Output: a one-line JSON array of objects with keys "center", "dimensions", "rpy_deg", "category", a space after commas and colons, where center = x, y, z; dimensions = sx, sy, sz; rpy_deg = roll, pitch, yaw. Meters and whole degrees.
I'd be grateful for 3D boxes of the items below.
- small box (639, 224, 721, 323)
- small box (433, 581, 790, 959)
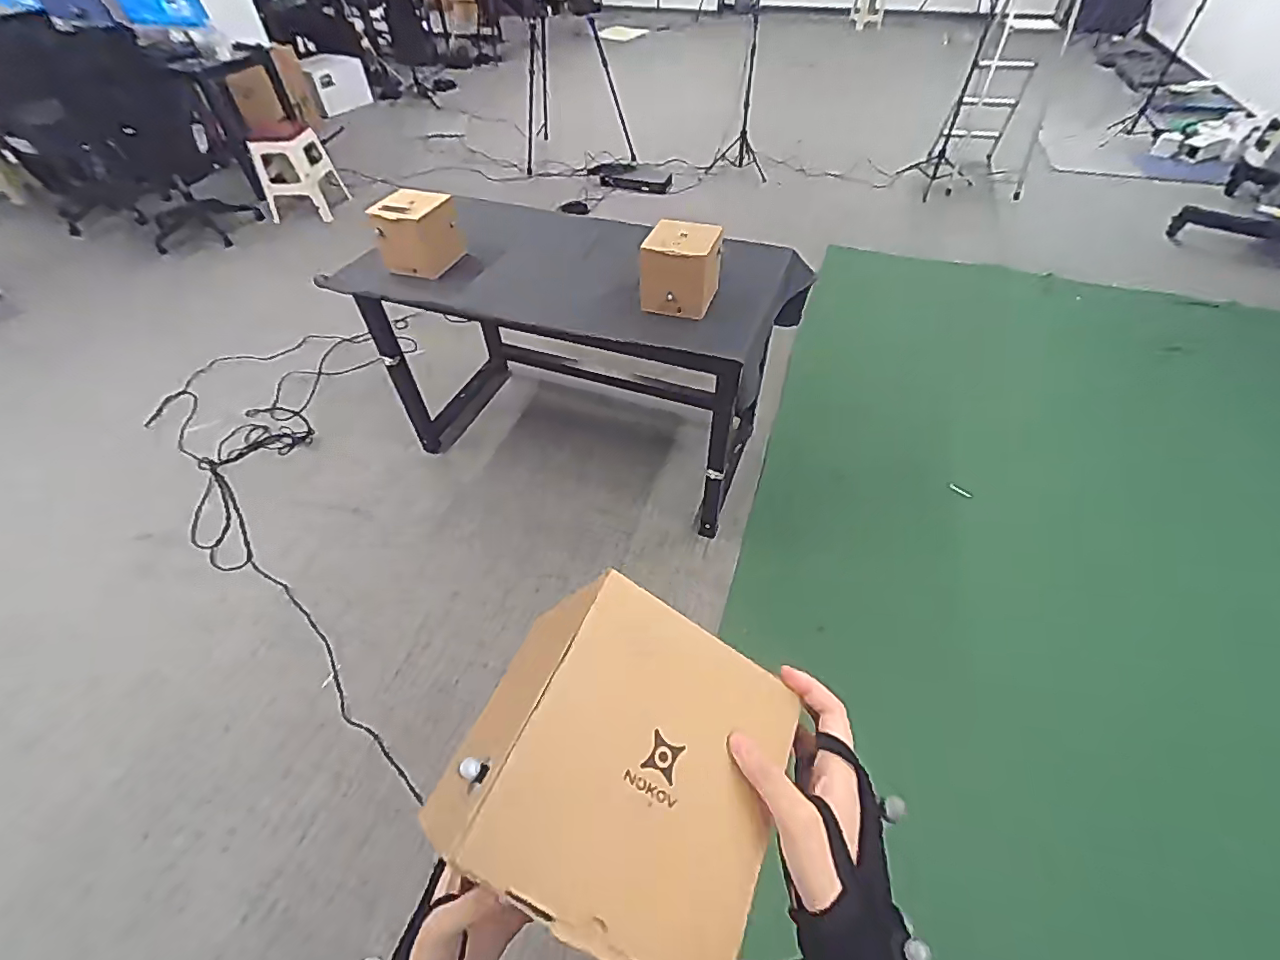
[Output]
[{"center": [0.103, -0.528, 1.382], "dimensions": [0.168, 0.176, 0.179], "rpy_deg": [13, 50, 15], "category": "small box"}, {"center": [-0.026, 0.203, 0.383], "dimensions": [0.168, 0.176, 0.179], "rpy_deg": [33, 55, -10], "category": "small box"}]
